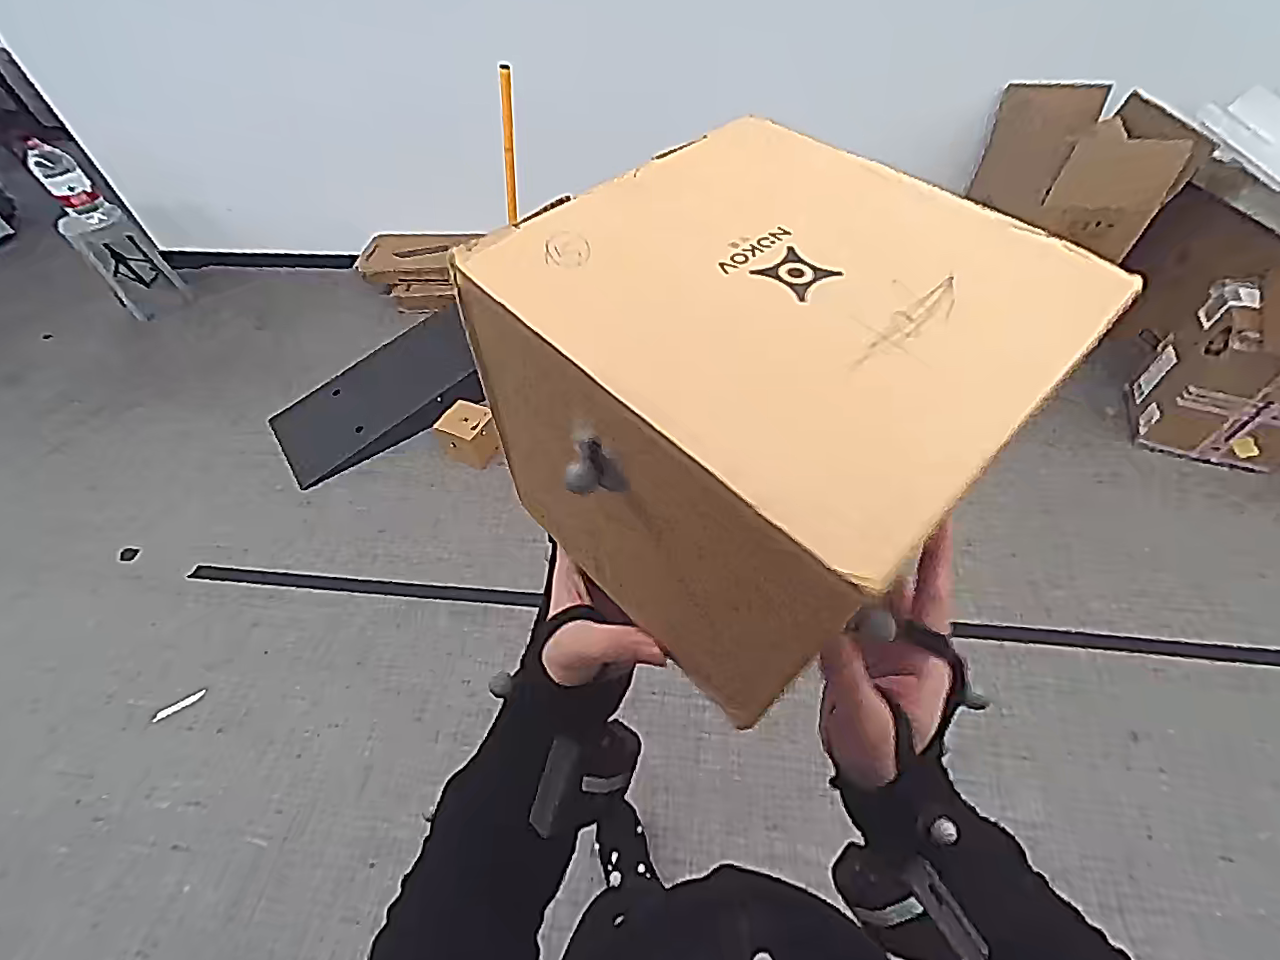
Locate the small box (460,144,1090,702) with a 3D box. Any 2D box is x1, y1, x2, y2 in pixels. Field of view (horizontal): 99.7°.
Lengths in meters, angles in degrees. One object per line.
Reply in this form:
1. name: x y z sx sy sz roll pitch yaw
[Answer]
1. small box: 0.047 -0.022 0.265 0.179 0.176 0.168 40 65 22
